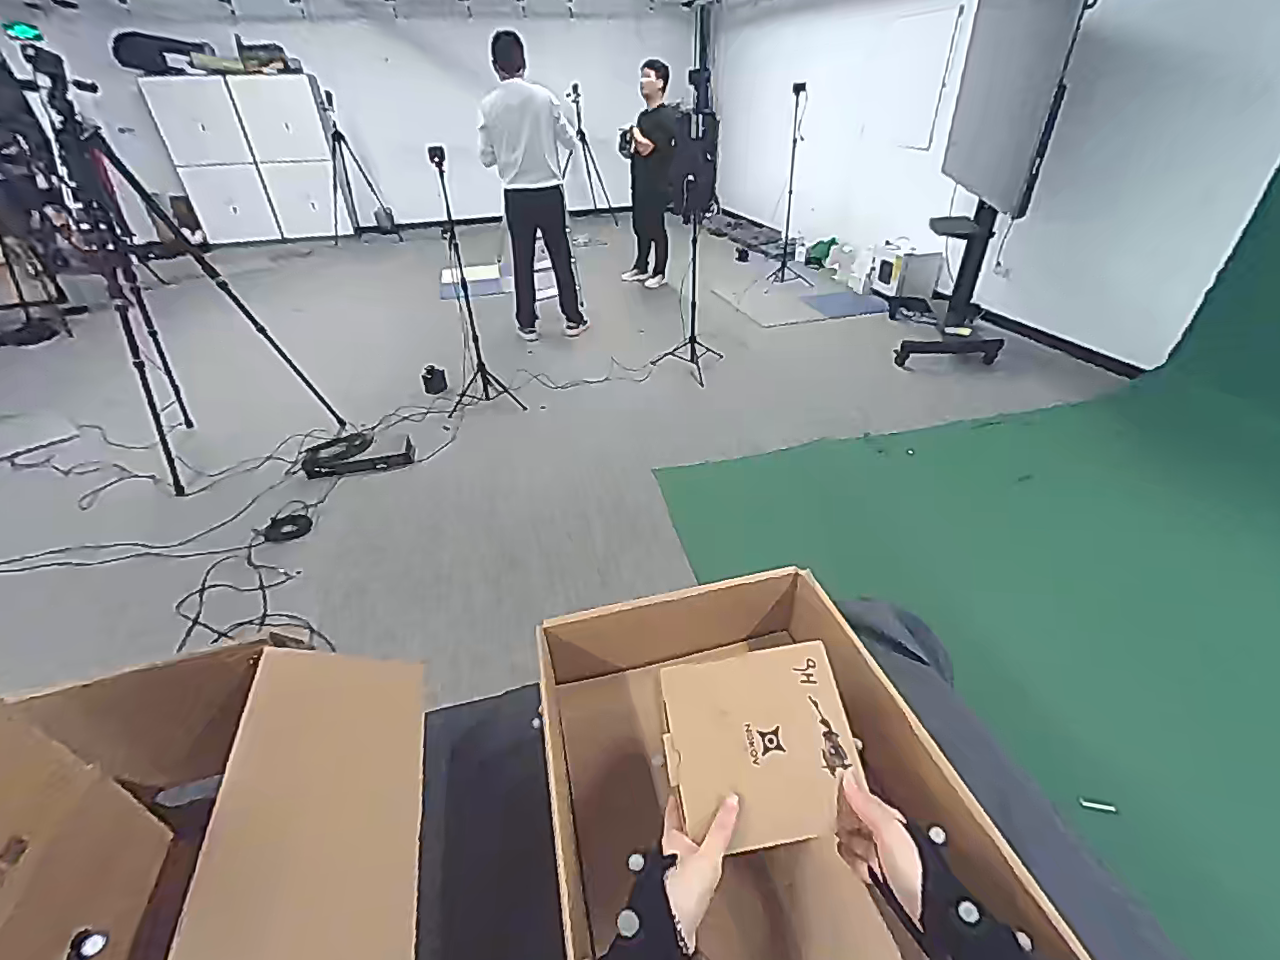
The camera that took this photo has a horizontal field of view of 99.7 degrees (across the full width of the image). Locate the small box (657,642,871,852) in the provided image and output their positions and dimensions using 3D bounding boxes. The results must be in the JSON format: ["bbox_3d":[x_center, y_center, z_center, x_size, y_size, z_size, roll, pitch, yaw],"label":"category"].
[{"bbox_3d":[0.115,0.287,0.590,0.179,0.176,0.168,-8,63,-4],"label":"small box"}]

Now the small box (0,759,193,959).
[{"bbox_3d":[-0.467,0.336,0.380,0.168,0.176,0.179,-8,37,-9],"label":"small box"}]
